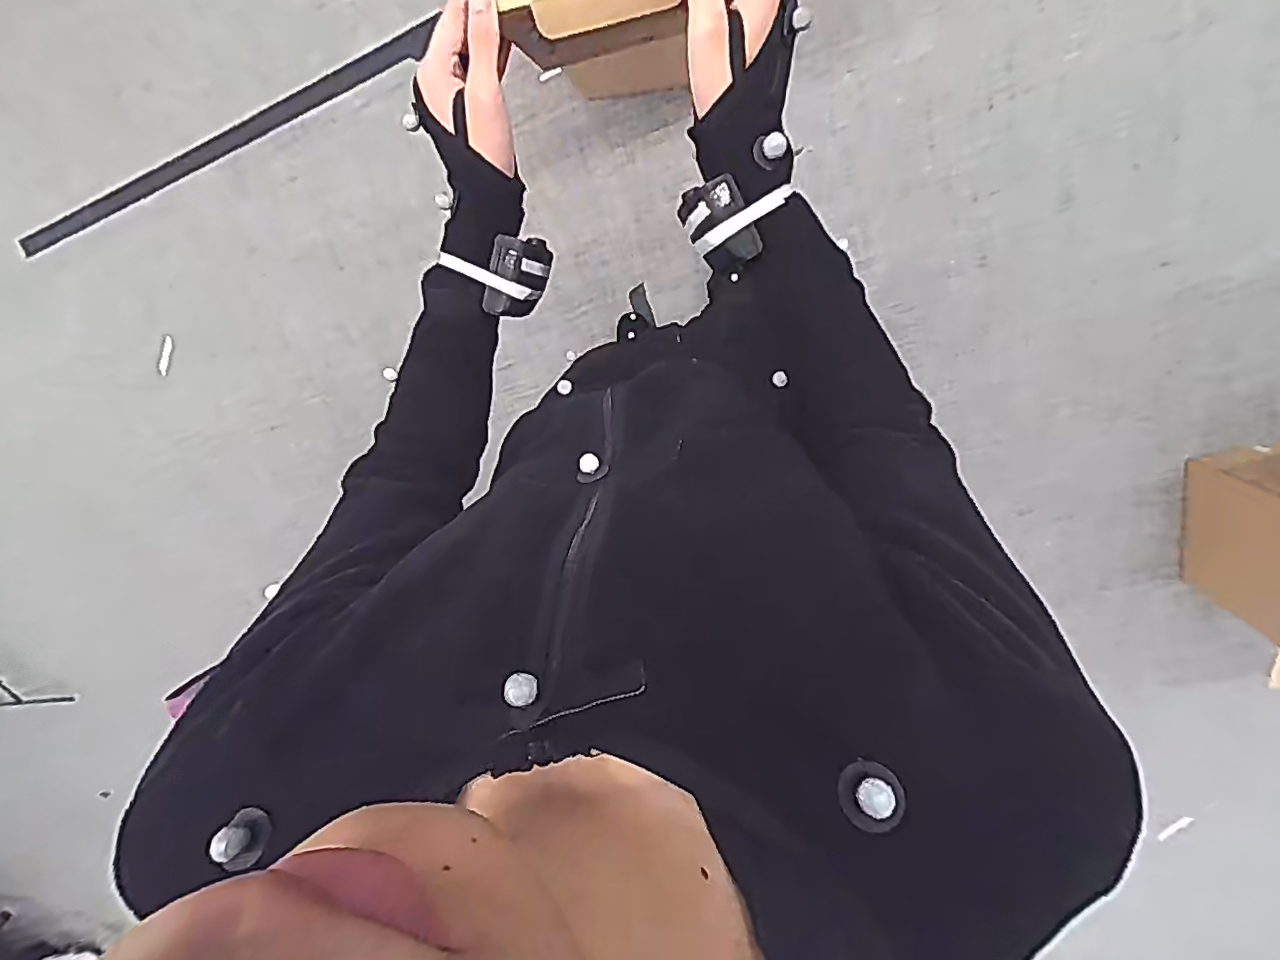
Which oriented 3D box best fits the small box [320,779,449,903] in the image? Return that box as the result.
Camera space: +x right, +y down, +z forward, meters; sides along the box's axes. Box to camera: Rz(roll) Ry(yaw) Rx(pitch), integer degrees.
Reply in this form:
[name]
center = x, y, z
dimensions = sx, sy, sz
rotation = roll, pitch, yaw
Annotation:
[small box]
center = -0.559, 0.805, 1.218
dimensions = 0.179, 0.176, 0.168
rotation = -18, 109, 16
